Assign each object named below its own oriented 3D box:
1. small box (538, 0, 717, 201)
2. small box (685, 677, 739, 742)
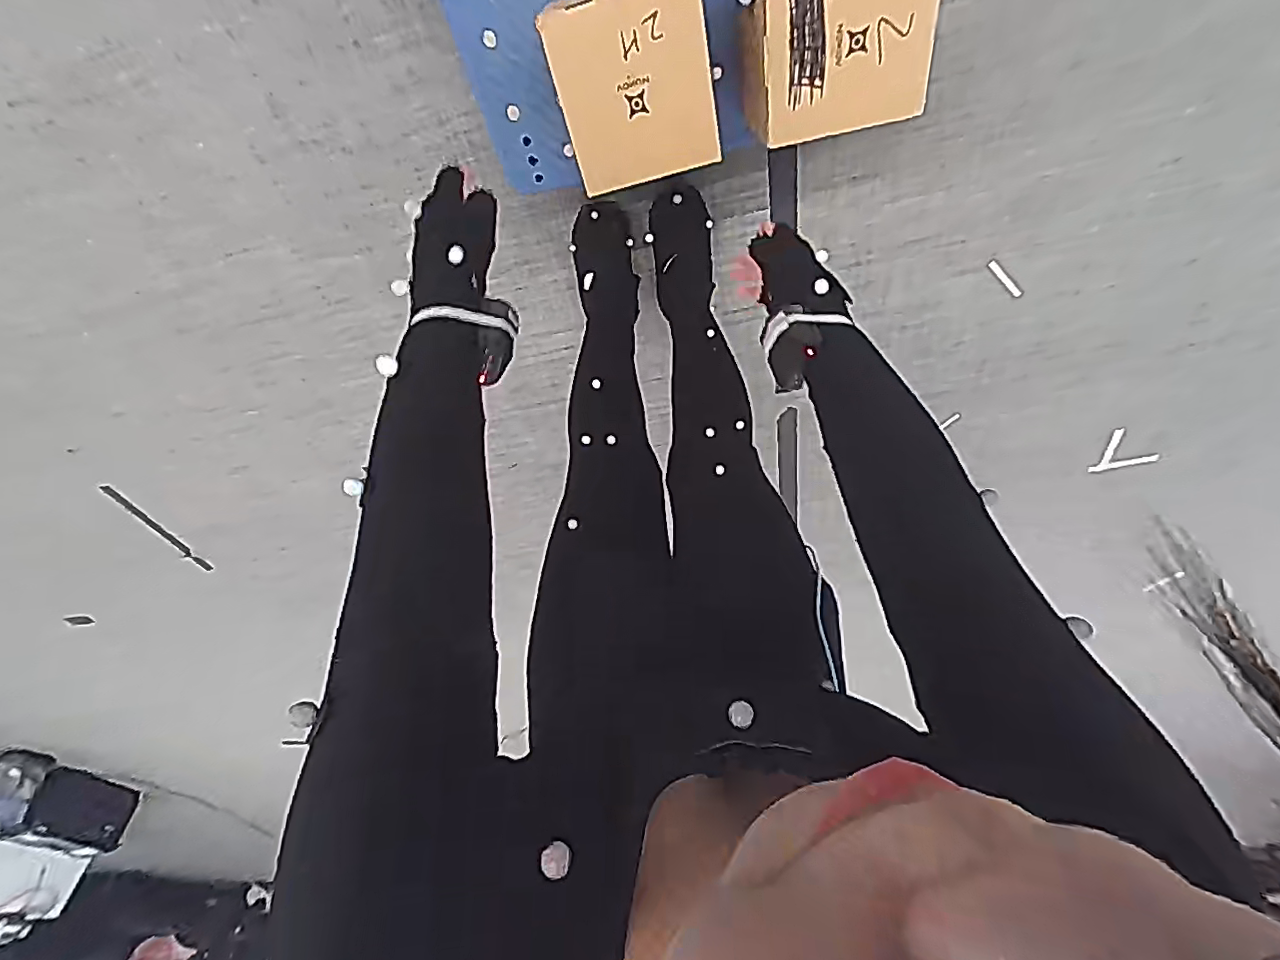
[{"bbox_3d":[-0.007,-0.470,0.645,0.168,0.176,0.179,-11,134,9],"label":"small box"},{"bbox_3d":[0.267,0.860,2.027,0.179,0.176,0.168,-10,135,8],"label":"small box"}]
